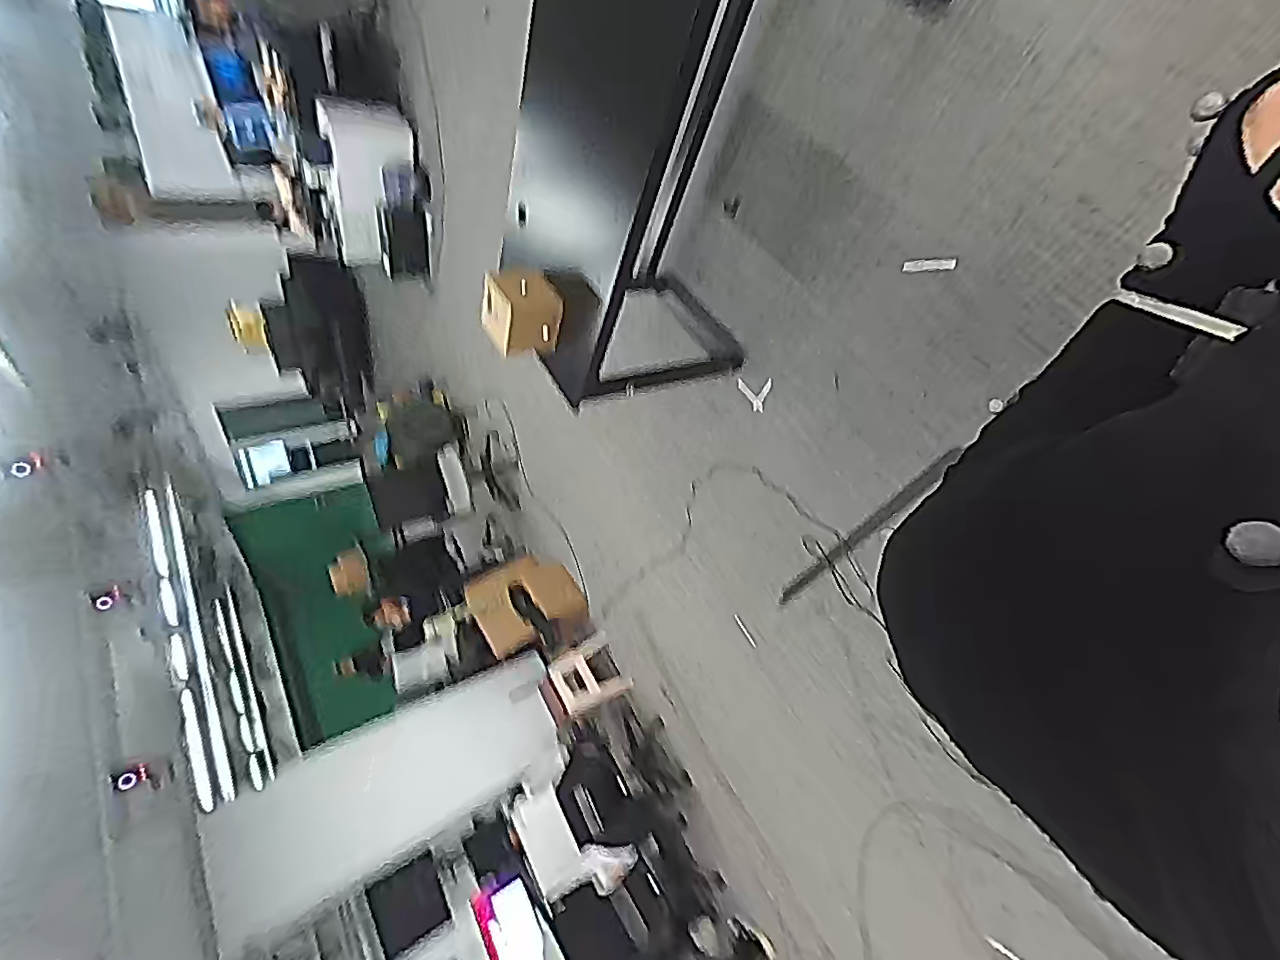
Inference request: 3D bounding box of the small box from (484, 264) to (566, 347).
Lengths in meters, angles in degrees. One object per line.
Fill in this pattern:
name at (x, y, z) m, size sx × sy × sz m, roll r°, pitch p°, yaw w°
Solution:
small box at (-0.344, -0.523, 1.611) m, size 0.179 × 0.176 × 0.168 m, roll 54°, pitch 143°, yaw 25°
